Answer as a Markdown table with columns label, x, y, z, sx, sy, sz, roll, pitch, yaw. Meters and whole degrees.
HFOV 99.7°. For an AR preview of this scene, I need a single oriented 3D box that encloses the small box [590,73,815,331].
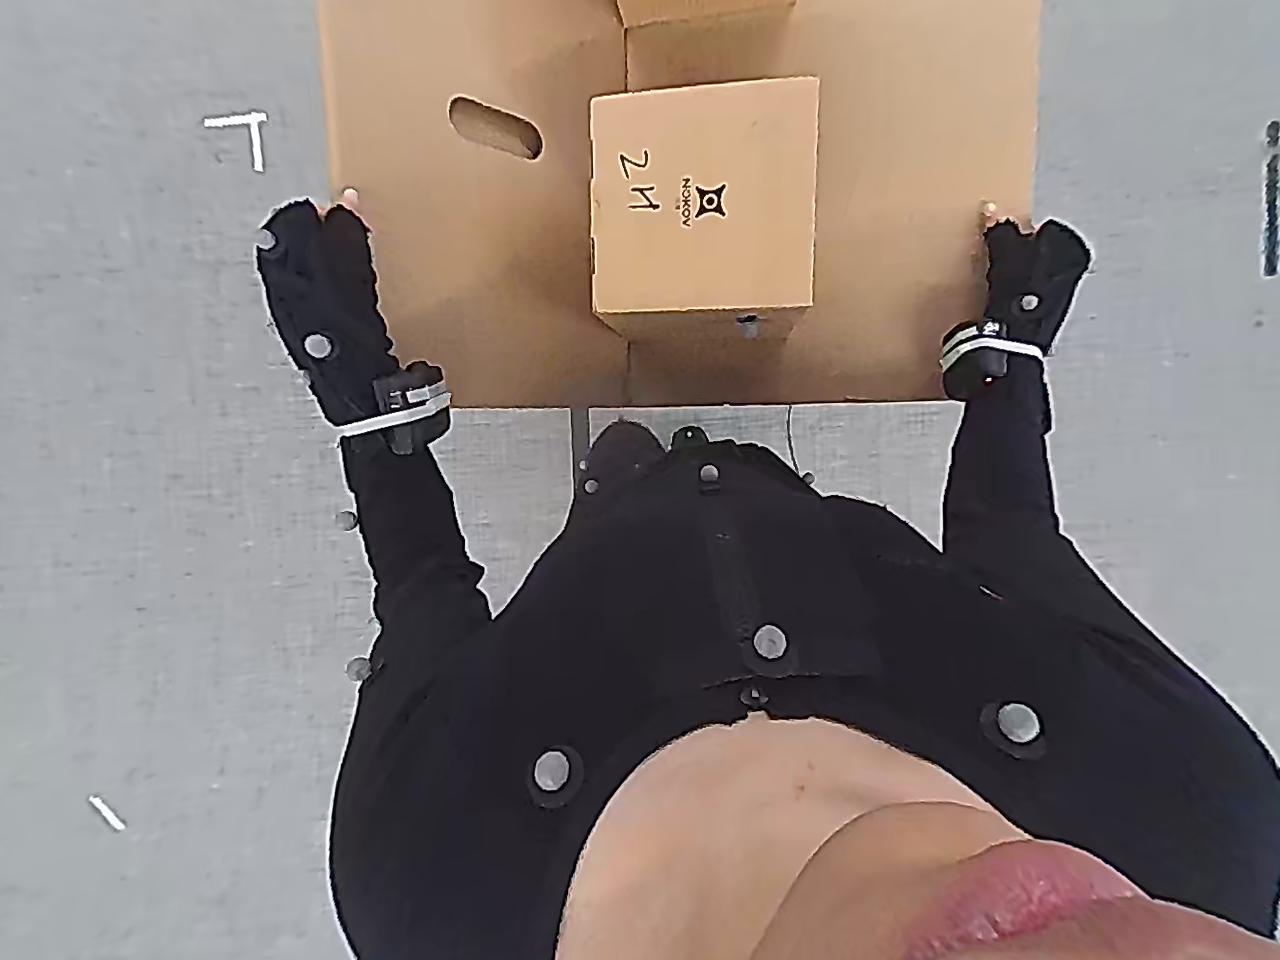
| label | x | y | z | sx | sy | sz | roll | pitch | yaw |
| --- | --- | --- | --- | --- | --- | --- | --- | --- | --- |
| small box | 0.057 | -0.237 | 0.506 | 0.179 | 0.176 | 0.168 | 1 | 97 | 10 |

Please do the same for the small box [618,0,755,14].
| label | x | y | z | sx | sy | sz | roll | pitch | yaw |
| --- | --- | --- | --- | --- | --- | --- | --- | --- | --- |
| small box | 0.049 | -0.555 | 0.470 | 0.179 | 0.176 | 0.168 | -1 | 96 | 8 |
